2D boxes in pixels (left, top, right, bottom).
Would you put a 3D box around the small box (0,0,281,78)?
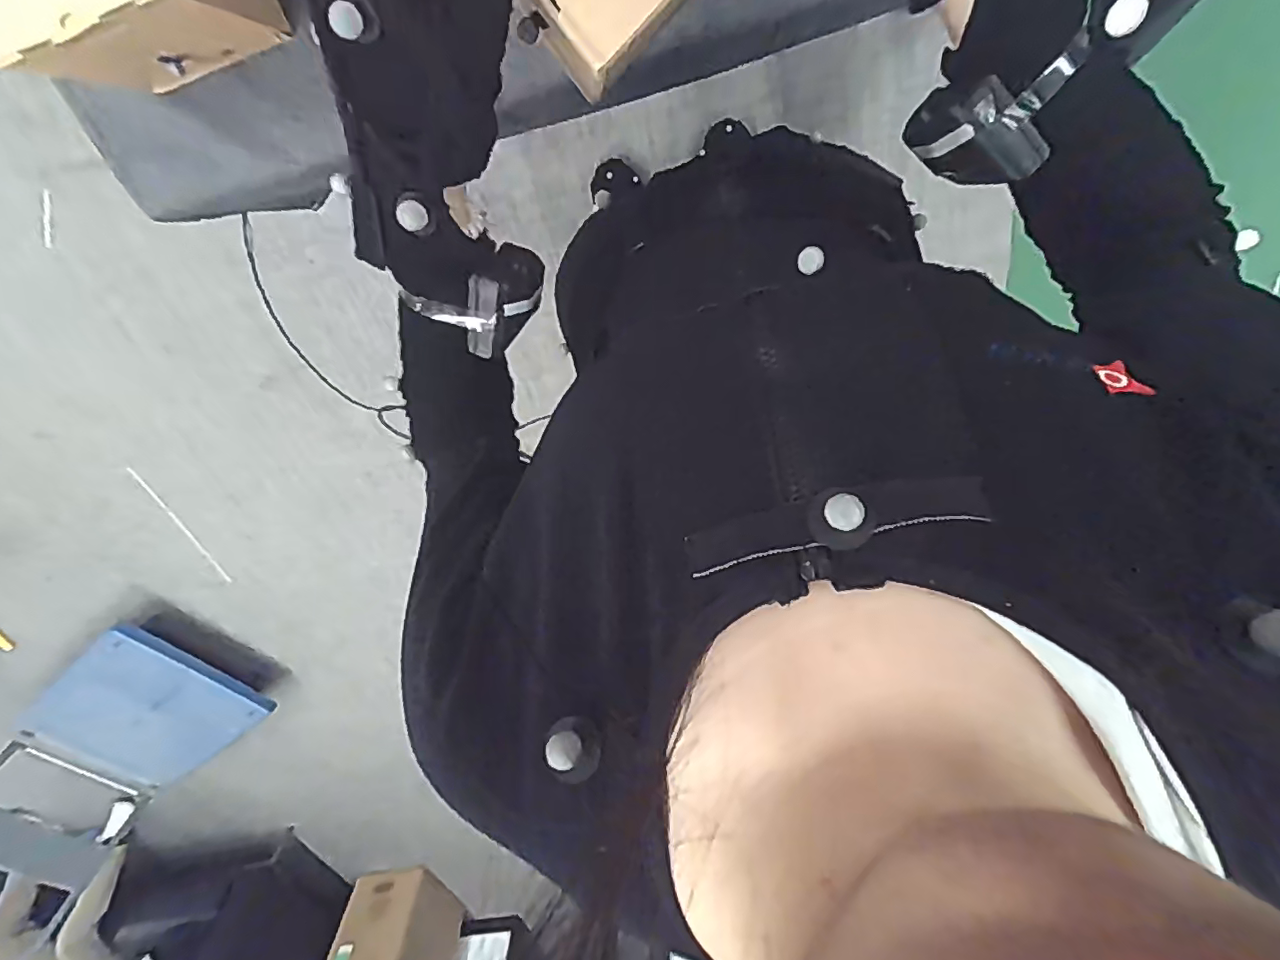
[{"bbox_3d":[-0.440,-0.450,0.422,0.168,0.176,0.179,-15,121,9],"label":"small box"}]
